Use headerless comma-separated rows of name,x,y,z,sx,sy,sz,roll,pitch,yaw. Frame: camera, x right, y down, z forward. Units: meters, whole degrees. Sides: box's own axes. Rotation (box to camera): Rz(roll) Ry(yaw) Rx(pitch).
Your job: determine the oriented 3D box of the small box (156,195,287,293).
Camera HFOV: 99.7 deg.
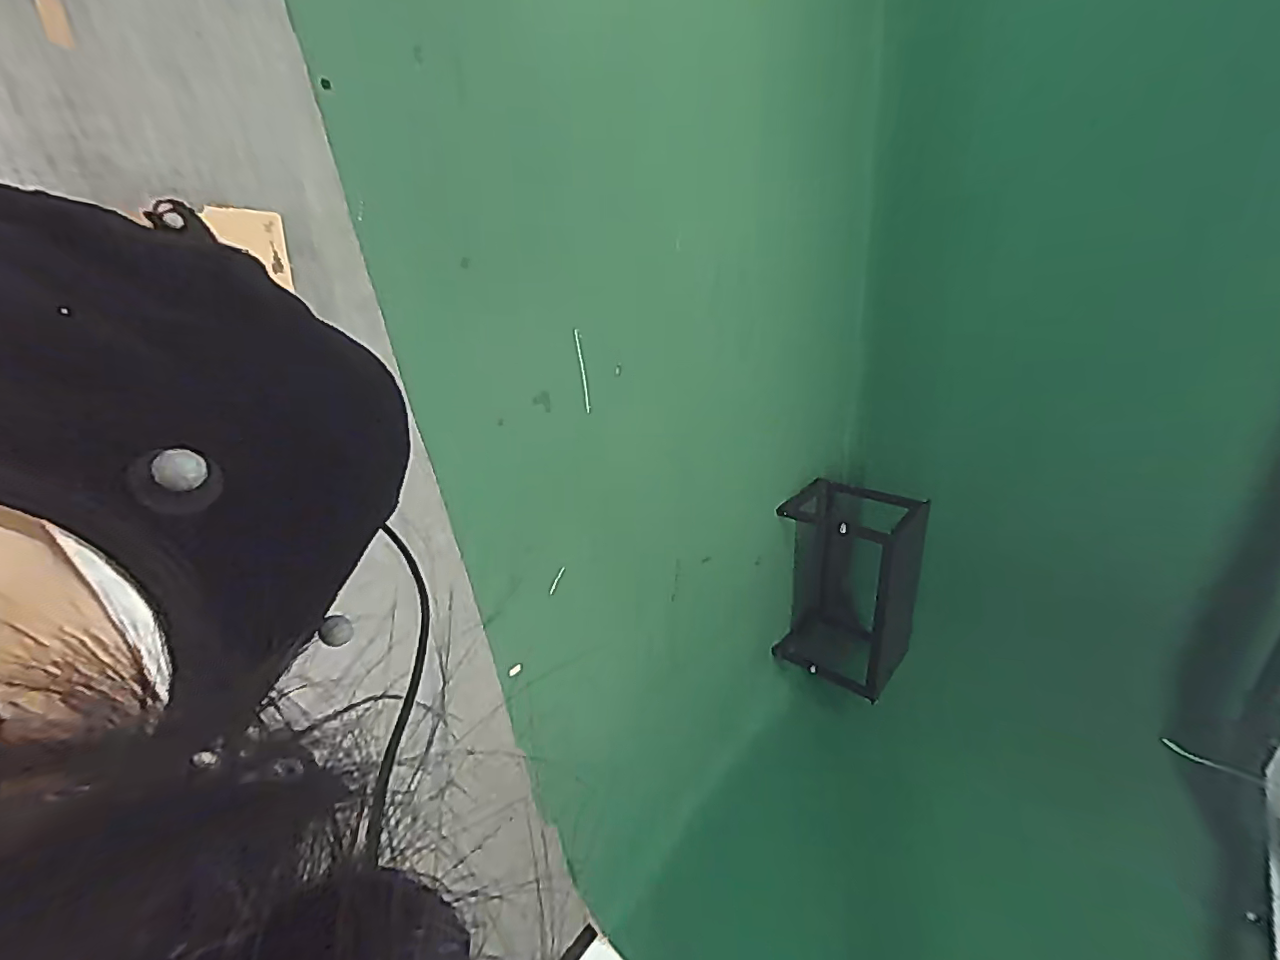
small box,-0.865,-0.477,1.116,0.179,0.176,0.168,-18,117,-44
